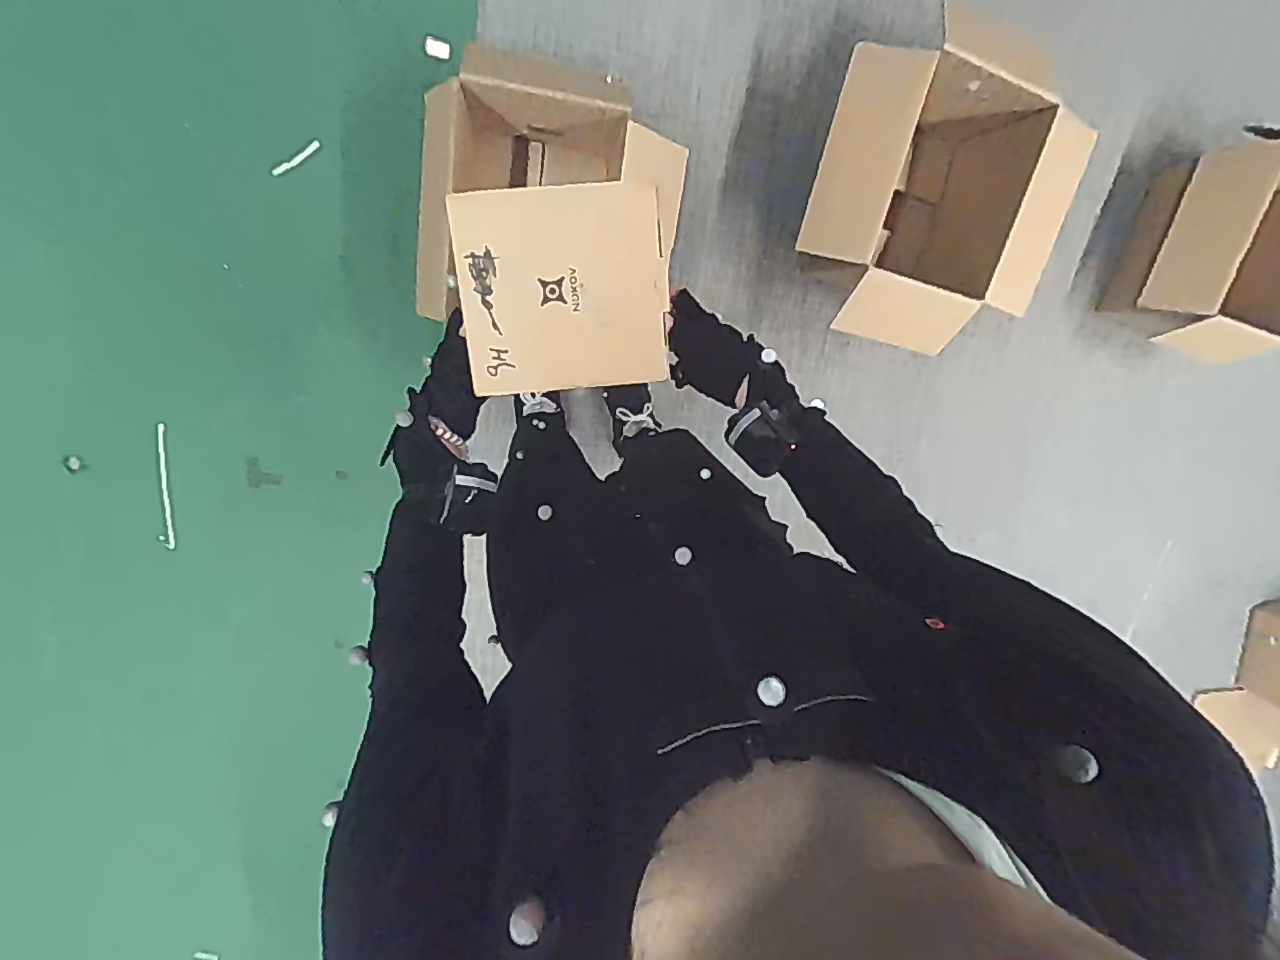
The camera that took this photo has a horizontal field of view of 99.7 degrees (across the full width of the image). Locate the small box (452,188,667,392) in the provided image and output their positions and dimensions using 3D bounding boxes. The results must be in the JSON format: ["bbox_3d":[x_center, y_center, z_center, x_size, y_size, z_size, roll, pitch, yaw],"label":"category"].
[{"bbox_3d":[-0.072,-0.182,0.546,0.179,0.176,0.168,-4,104,-3],"label":"small box"}]
